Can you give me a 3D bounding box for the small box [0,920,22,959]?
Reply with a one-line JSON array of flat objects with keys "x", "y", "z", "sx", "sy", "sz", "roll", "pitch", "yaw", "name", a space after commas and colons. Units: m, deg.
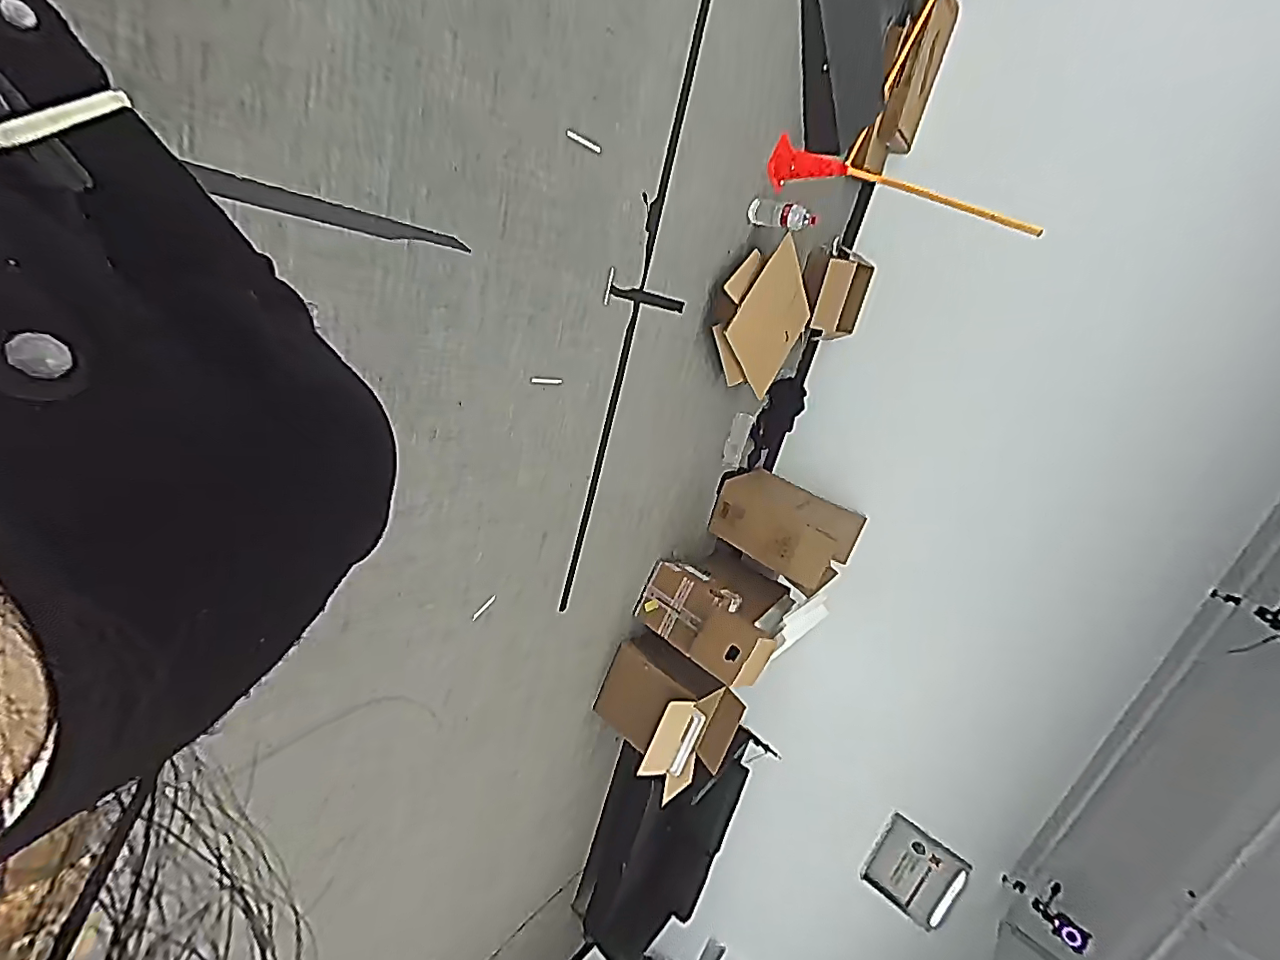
[{"x": -1.309, "y": 1.011, "z": 1.032, "sx": 0.179, "sy": 0.176, "sz": 0.168, "roll": -11, "pitch": 121, "yaw": -50, "name": "small box"}]
